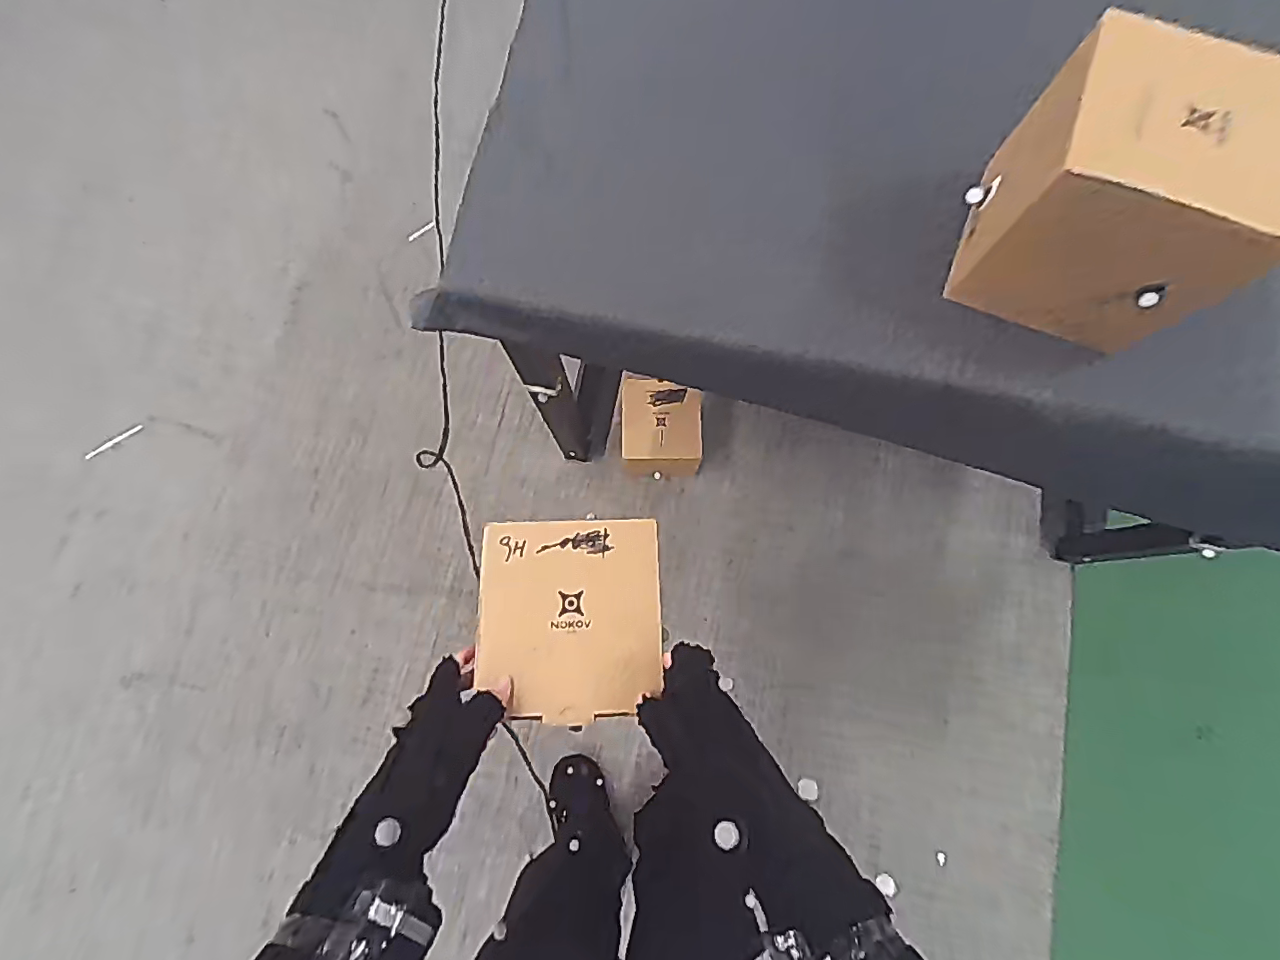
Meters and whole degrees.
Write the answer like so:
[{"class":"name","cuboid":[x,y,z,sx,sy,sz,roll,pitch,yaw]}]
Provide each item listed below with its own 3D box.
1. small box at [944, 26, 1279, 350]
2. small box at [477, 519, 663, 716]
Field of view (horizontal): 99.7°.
[{"class":"small box","cuboid":[0.417,-0.240,0.484,0.179,0.176,0.168,21,76,6]},{"class":"small box","cuboid":[-0.062,0.146,0.570,0.168,0.176,0.179,-1,70,-2]}]
